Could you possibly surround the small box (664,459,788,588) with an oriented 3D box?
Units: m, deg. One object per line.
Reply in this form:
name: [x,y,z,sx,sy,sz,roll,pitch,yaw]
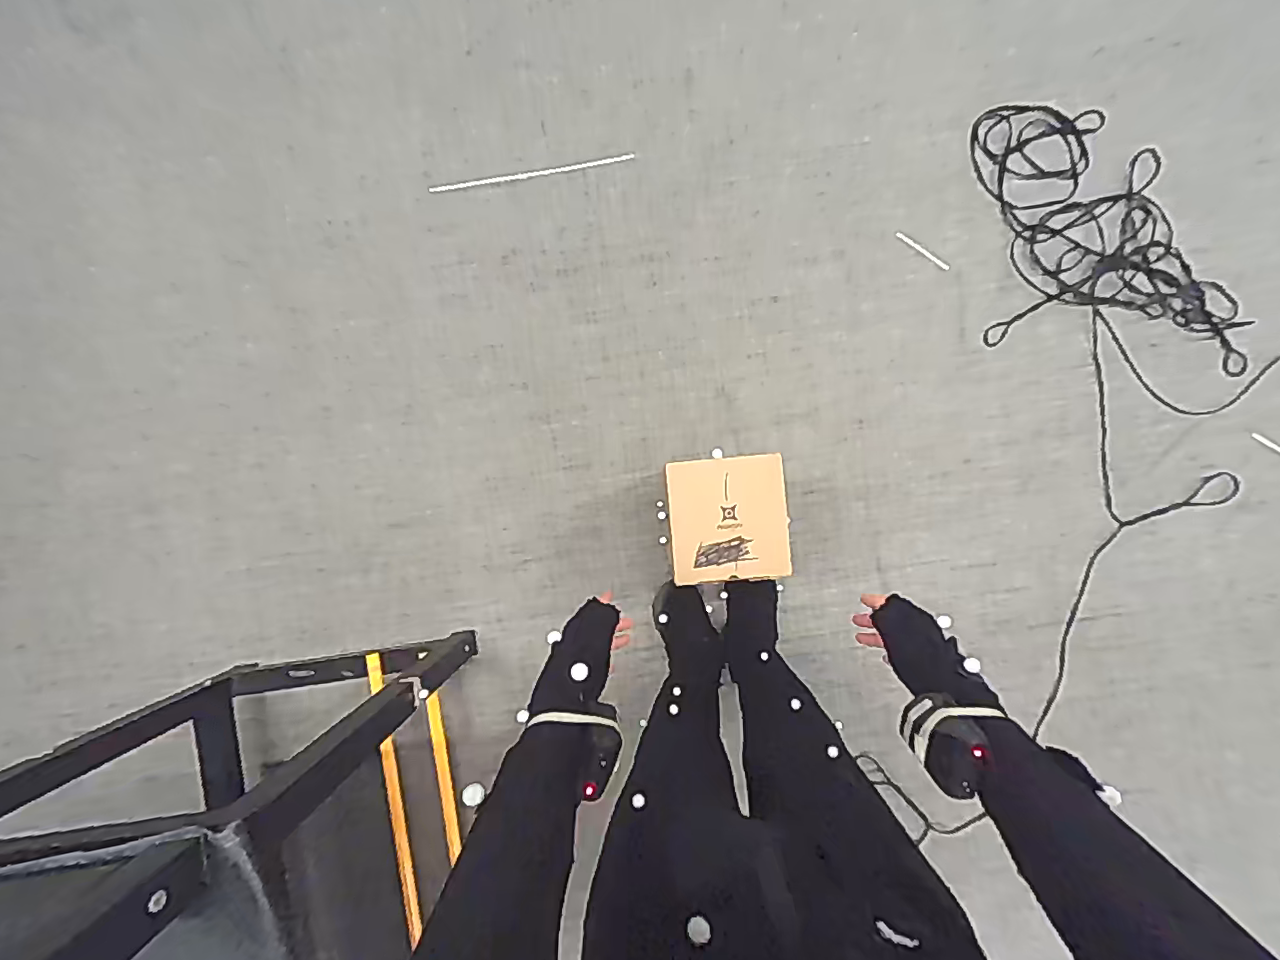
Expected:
small box: [0.125,0.061,0.843,0.168,0.176,0.179,-5,90,1]
